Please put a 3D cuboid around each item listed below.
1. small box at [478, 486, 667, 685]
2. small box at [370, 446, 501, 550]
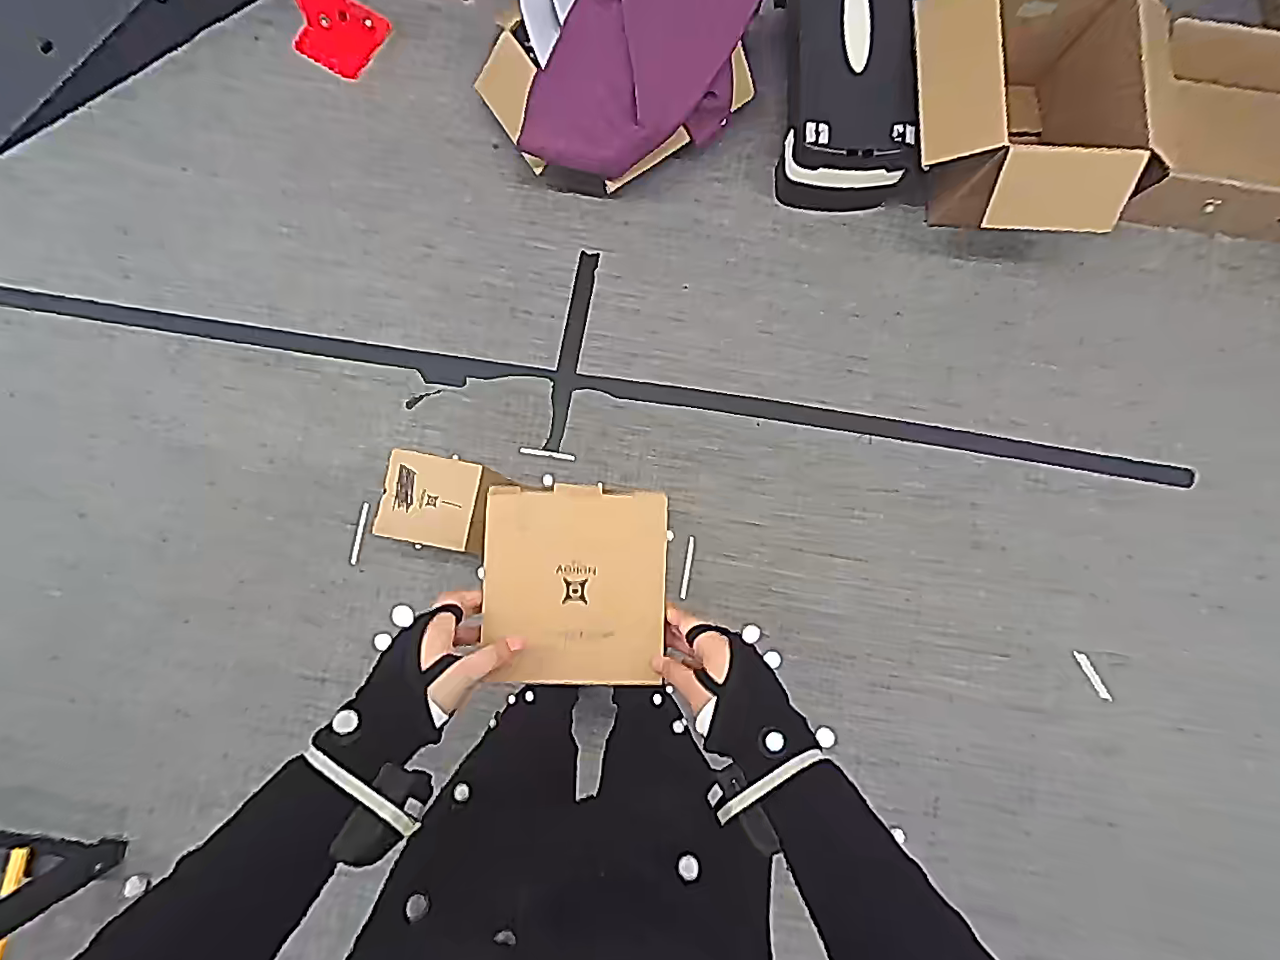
[{"bbox_3d":[-0.065,0.098,0.567,0.168,0.176,0.179,2,89,-3],"label":"small box"},{"bbox_3d":[-0.394,0.041,1.070,0.179,0.176,0.168,11,84,0],"label":"small box"}]
